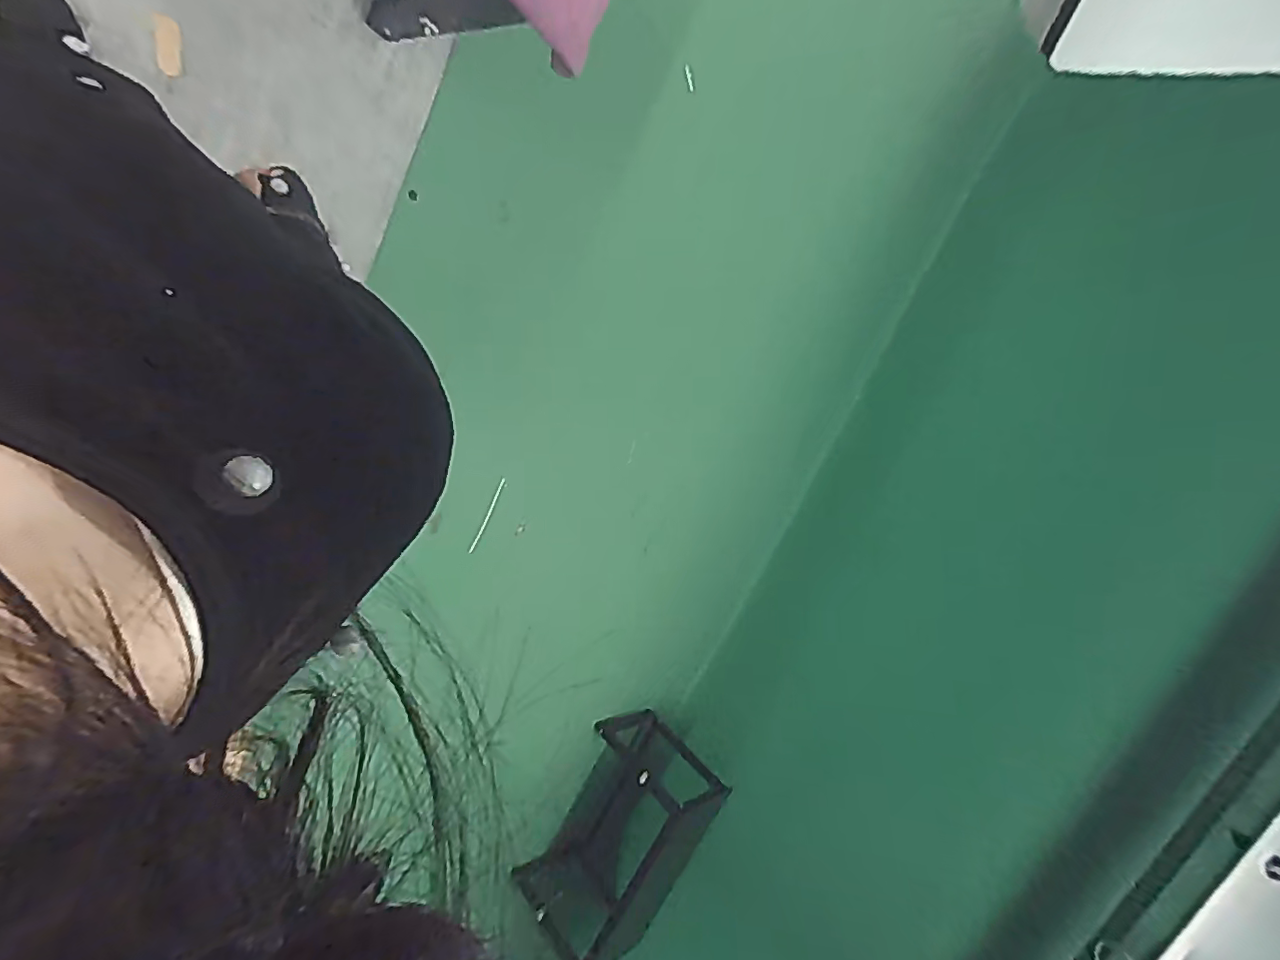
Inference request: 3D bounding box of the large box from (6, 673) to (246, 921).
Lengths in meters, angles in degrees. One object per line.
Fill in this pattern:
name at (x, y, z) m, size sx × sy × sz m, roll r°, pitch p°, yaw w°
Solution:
large box at (-1.289, 0.768, 1.381) m, size 0.408 × 0.320 × 0.320 m, roll -7°, pitch 121°, yaw -47°
